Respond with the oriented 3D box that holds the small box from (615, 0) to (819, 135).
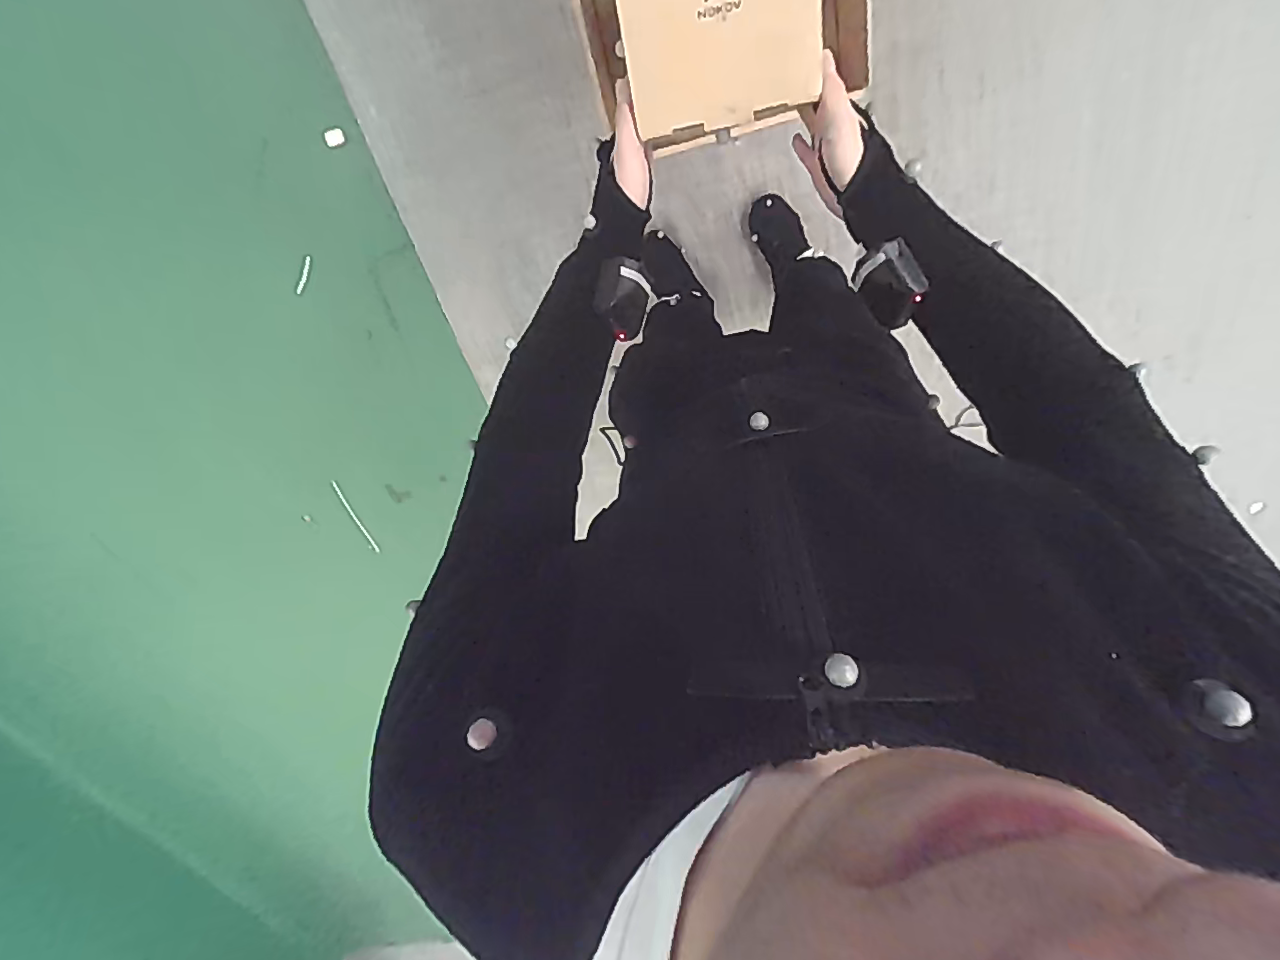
[{"bbox_3d":[0.068,-0.443,0.503,0.168,0.176,0.179,-7,122,10],"label":"small box"}]
